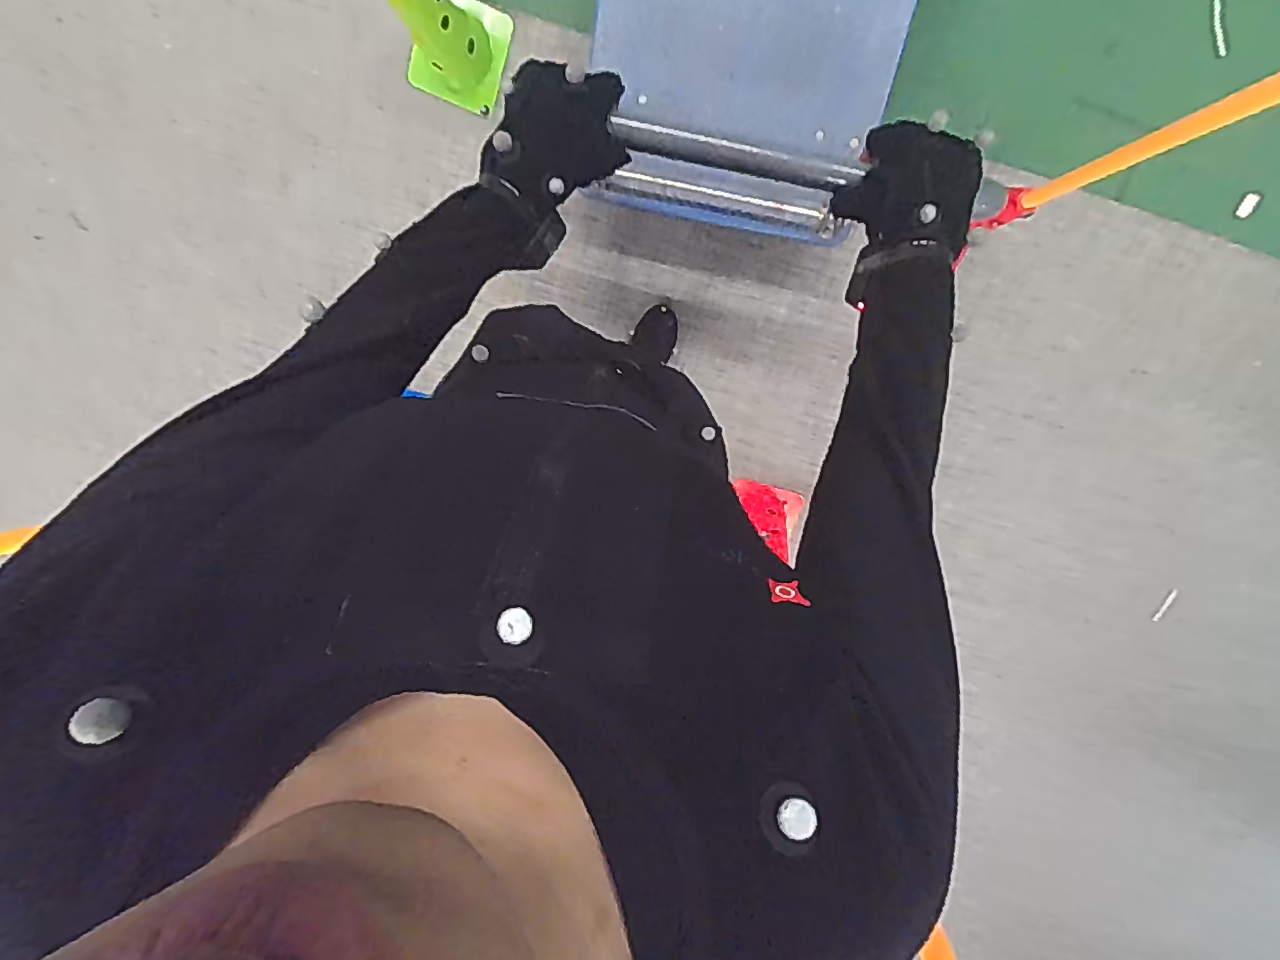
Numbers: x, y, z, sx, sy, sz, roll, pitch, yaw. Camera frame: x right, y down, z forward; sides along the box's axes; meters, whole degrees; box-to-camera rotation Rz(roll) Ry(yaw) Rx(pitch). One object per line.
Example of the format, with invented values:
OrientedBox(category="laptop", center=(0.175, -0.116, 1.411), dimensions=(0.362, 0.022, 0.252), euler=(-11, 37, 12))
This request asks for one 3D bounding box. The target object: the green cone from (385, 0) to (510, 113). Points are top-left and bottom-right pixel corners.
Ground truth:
OrientedBox(category="green cone", center=(-0.411, -0.893, 1.030), dimensions=(0.202, 0.368, 0.200), euler=(21, 109, -3))

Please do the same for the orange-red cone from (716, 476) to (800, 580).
OrientedBox(category="orange-red cone", center=(0.319, 0.153, 1.368), dimensions=(0.199, 0.360, 0.198), euler=(16, 109, 0))
